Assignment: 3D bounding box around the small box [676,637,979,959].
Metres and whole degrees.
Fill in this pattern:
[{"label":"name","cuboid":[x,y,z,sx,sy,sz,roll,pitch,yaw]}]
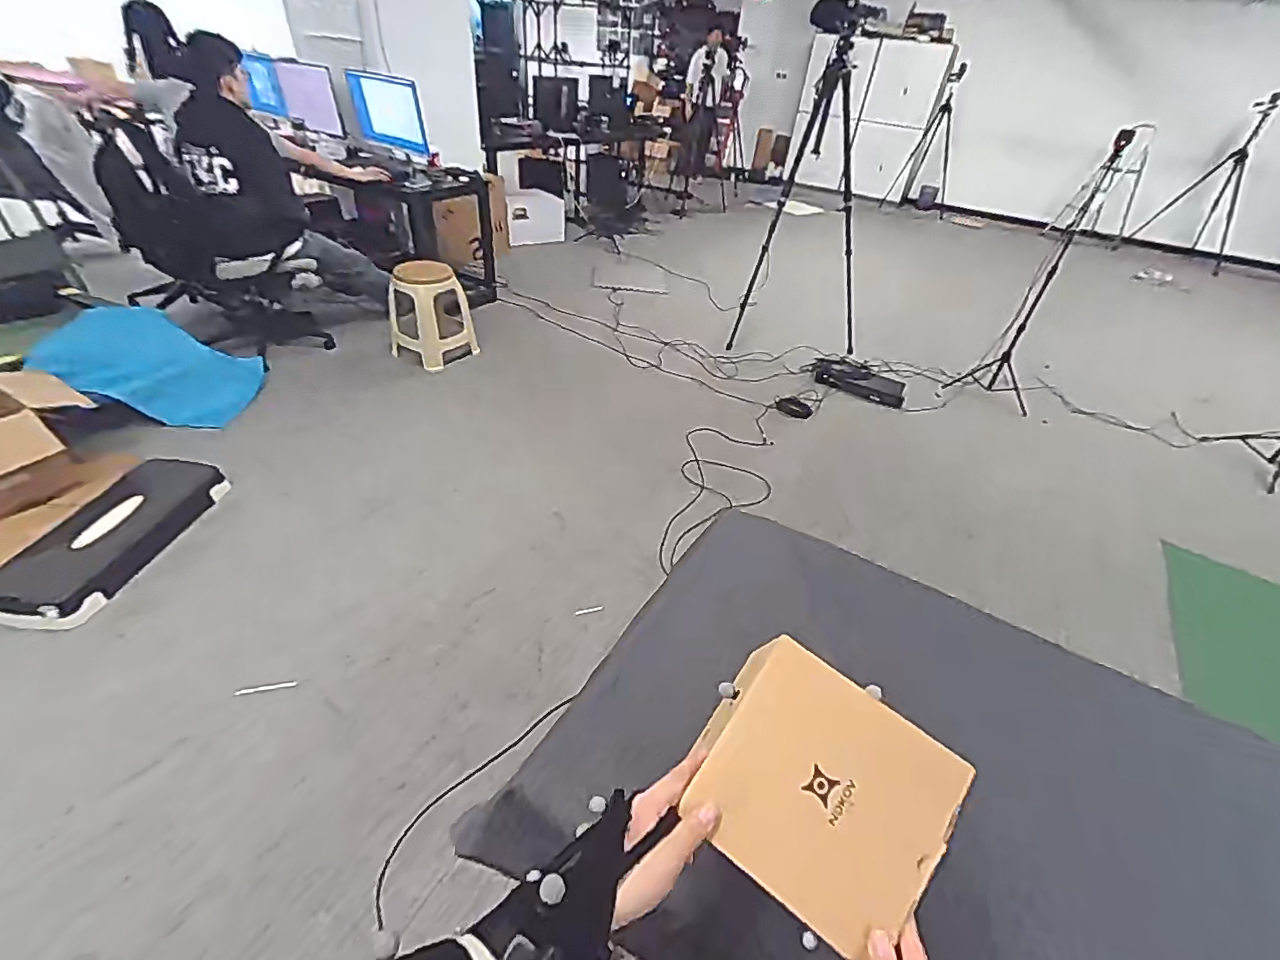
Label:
[{"label":"small box","cuboid":[0.145,0.269,0.483,0.179,0.176,0.168,34,72,14]}]
